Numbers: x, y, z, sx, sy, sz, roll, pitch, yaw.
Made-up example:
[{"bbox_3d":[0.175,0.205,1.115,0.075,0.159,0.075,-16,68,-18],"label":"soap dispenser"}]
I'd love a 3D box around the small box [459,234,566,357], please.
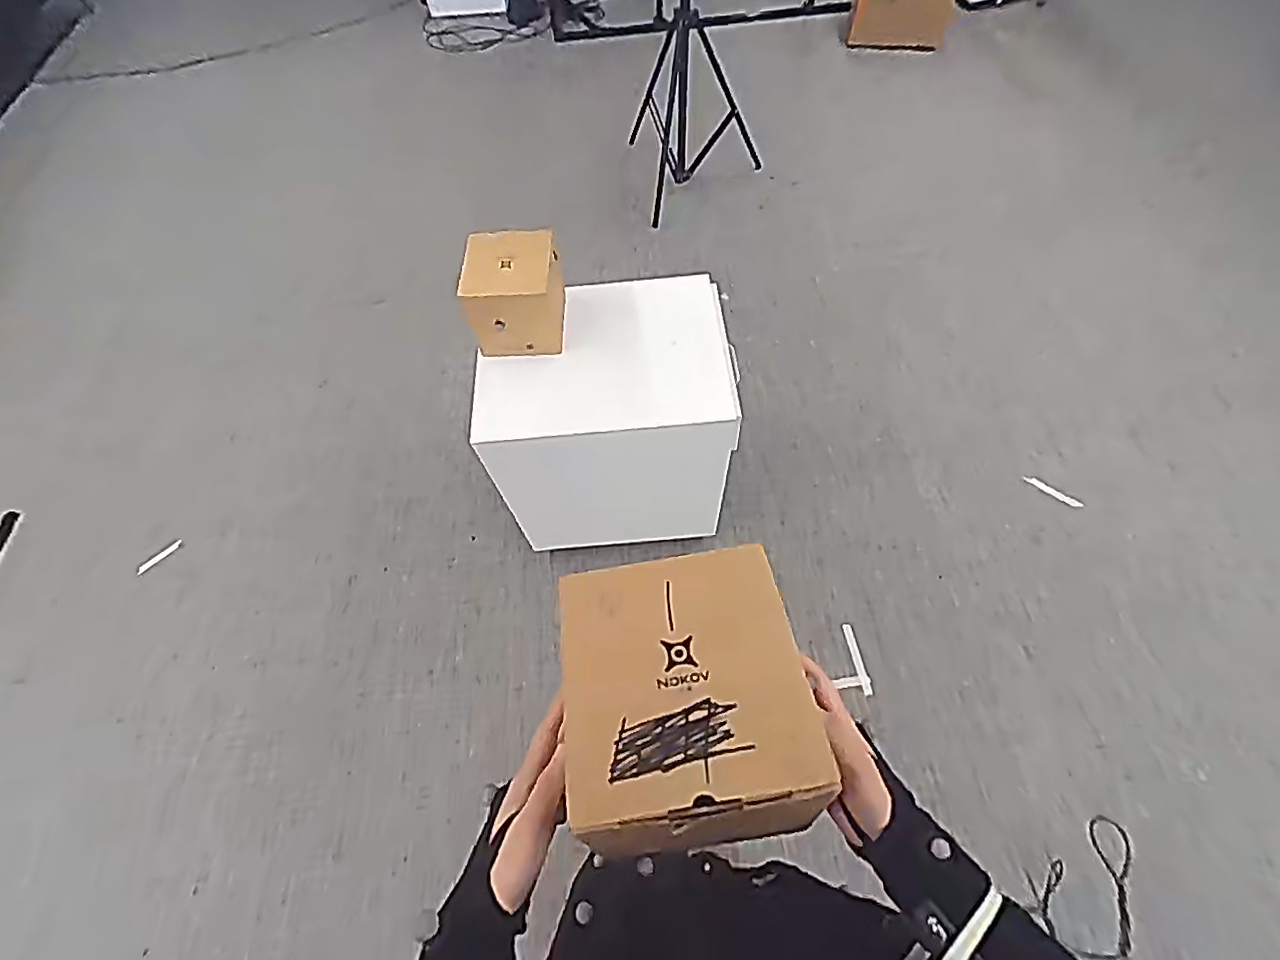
[{"bbox_3d":[-0.245,-0.361,1.083,0.168,0.176,0.179,-2,61,1],"label":"small box"}]
